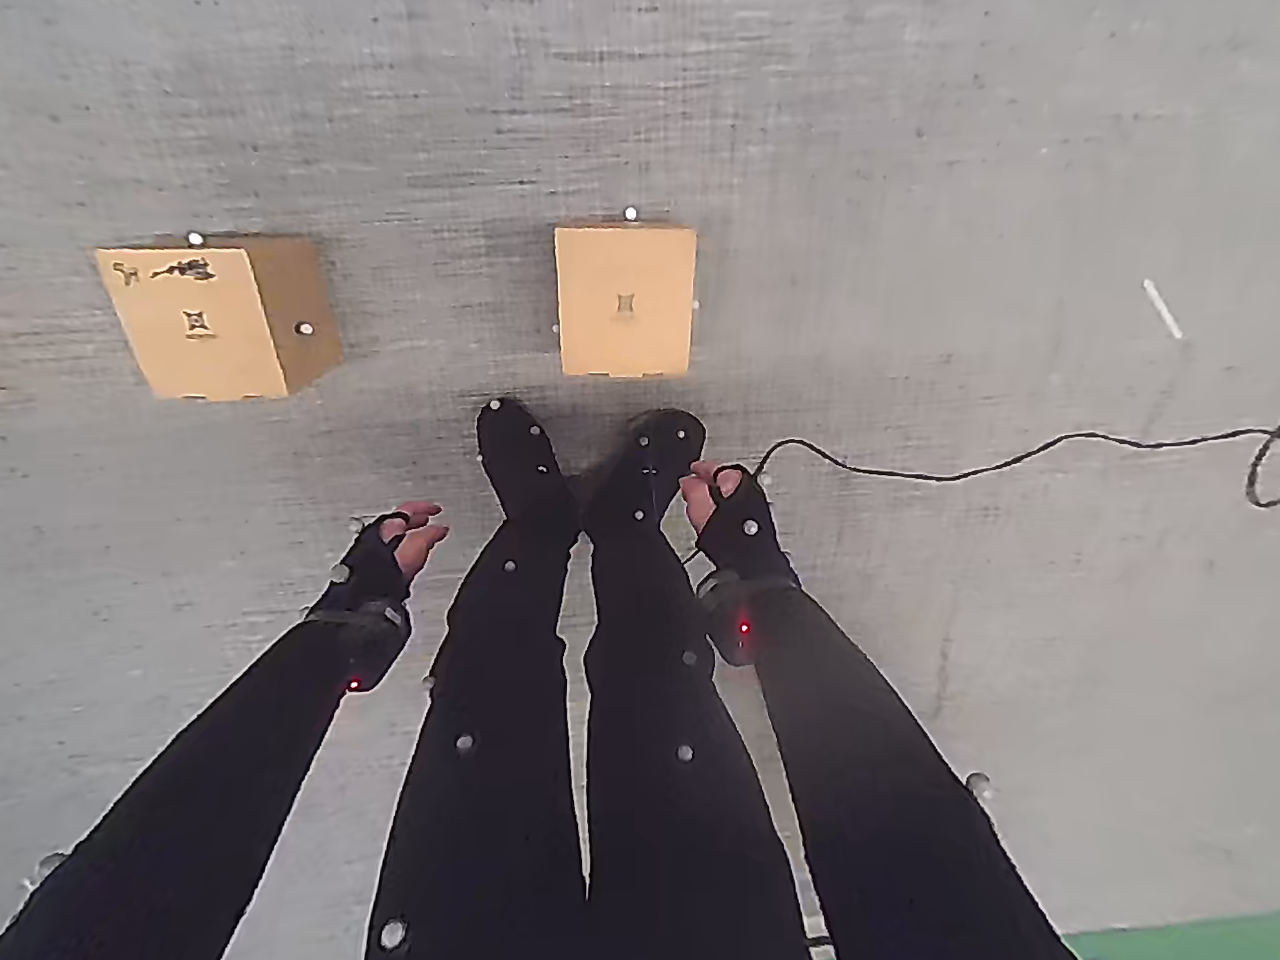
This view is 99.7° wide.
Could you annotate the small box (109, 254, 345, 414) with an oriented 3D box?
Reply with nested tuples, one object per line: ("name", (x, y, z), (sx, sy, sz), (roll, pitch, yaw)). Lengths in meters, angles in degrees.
("small box", (-0.532, -0.202, 0.733), (0.168, 0.176, 0.179), (-2, 118, -3))

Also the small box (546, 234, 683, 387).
("small box", (-0.034, -0.239, 0.747), (0.168, 0.176, 0.179), (-3, 117, -3))
